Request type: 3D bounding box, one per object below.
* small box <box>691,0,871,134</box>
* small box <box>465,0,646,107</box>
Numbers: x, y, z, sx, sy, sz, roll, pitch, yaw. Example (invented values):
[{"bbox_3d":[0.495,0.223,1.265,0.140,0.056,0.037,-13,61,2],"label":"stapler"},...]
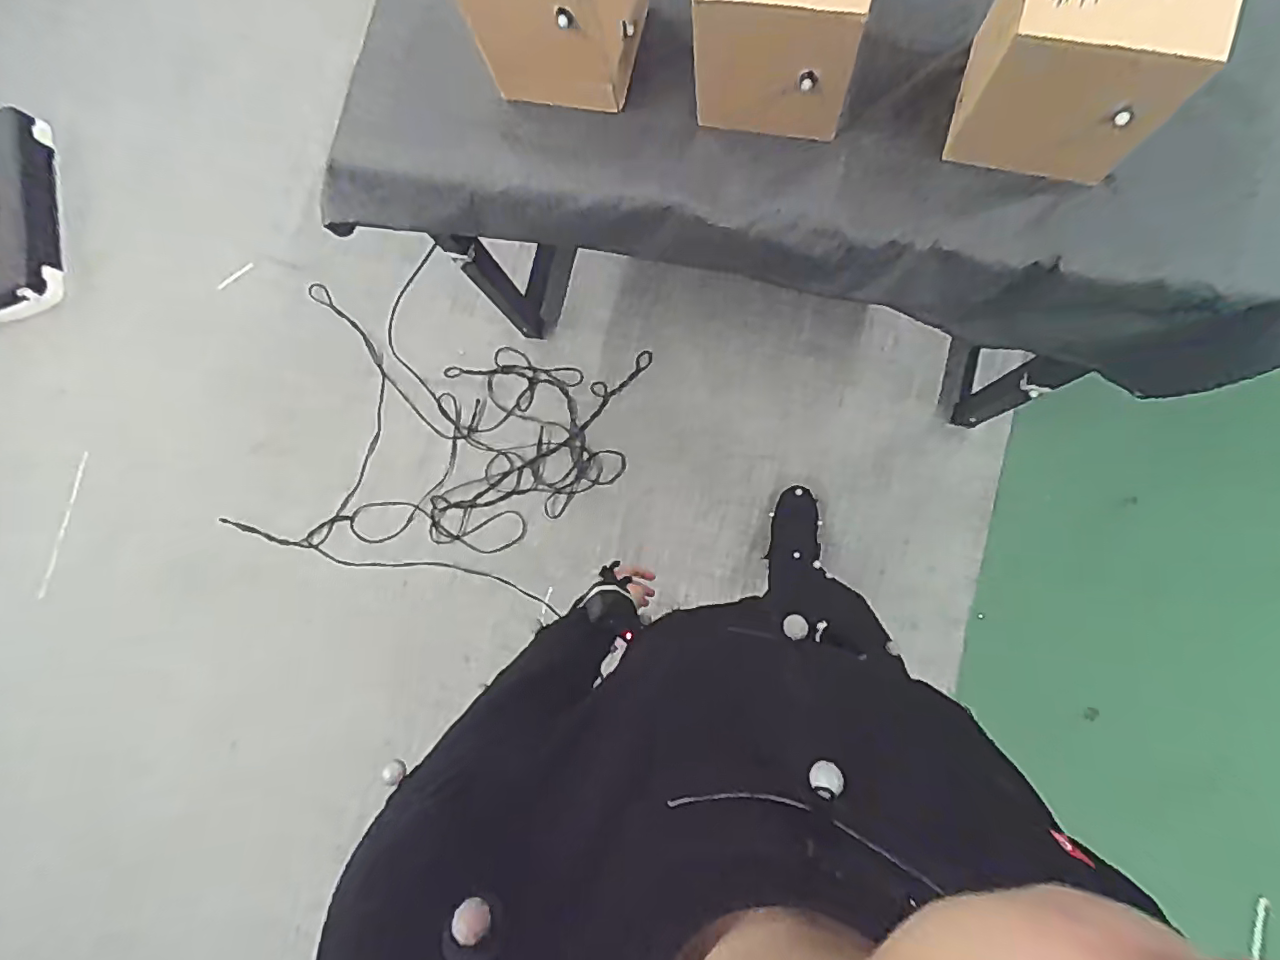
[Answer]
[{"bbox_3d":[0.166,-0.533,0.617,0.179,0.176,0.168,13,84,11],"label":"small box"},{"bbox_3d":[-0.102,-0.601,0.665,0.179,0.176,0.168,12,85,9],"label":"small box"}]
